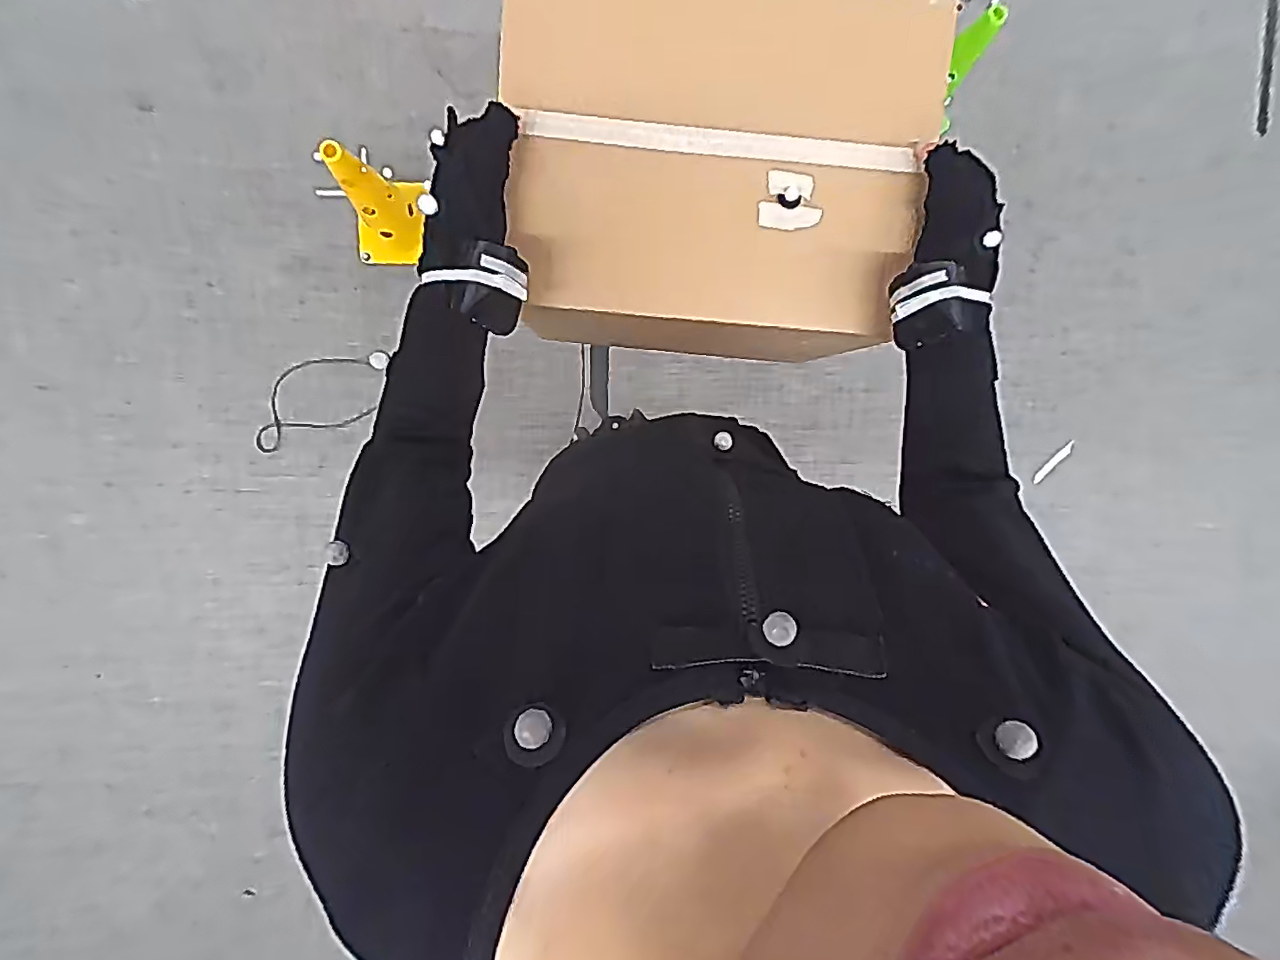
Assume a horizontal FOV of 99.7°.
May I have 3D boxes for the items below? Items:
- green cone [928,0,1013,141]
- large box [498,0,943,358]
[{"bbox_3d":[0.714,-0.961,1.264,0.202,0.368,0.200,-37,97,-2],"label":"green cone"},{"bbox_3d":[0.063,-0.329,0.648,0.408,0.320,0.320,4,98,-4],"label":"large box"}]
